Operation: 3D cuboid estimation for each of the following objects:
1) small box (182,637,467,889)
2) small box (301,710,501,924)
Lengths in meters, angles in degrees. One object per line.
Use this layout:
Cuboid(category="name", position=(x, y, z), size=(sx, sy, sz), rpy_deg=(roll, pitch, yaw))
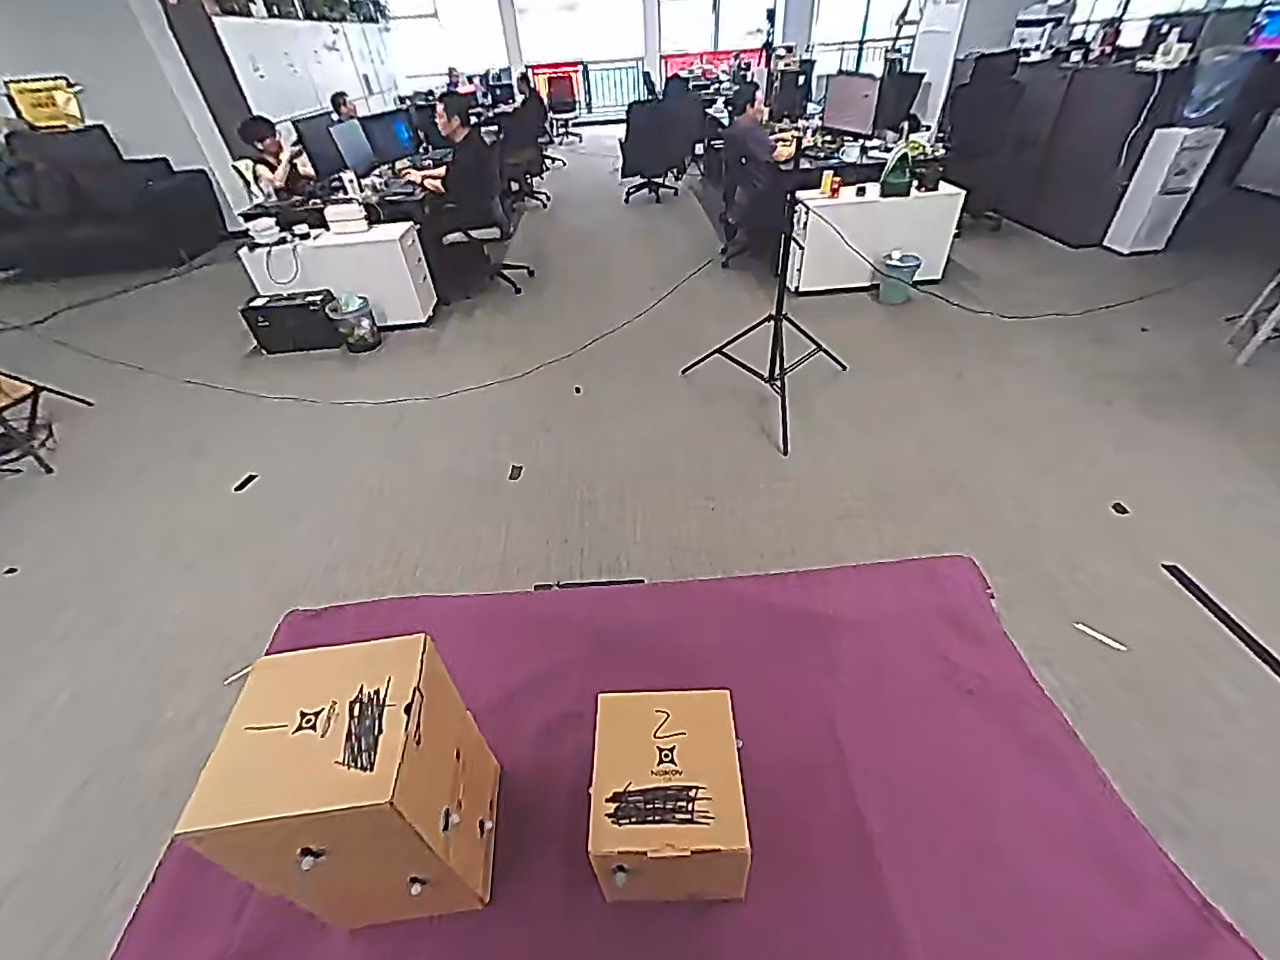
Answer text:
Cuboid(category="small box", position=(-0.288, 0.286, 0.551), size=(0.179, 0.176, 0.168), rpy_deg=(-7, 39, -3))
Cuboid(category="small box", position=(-0.281, 0.410, 0.659), size=(0.179, 0.176, 0.168), rpy_deg=(-7, 39, -3))
